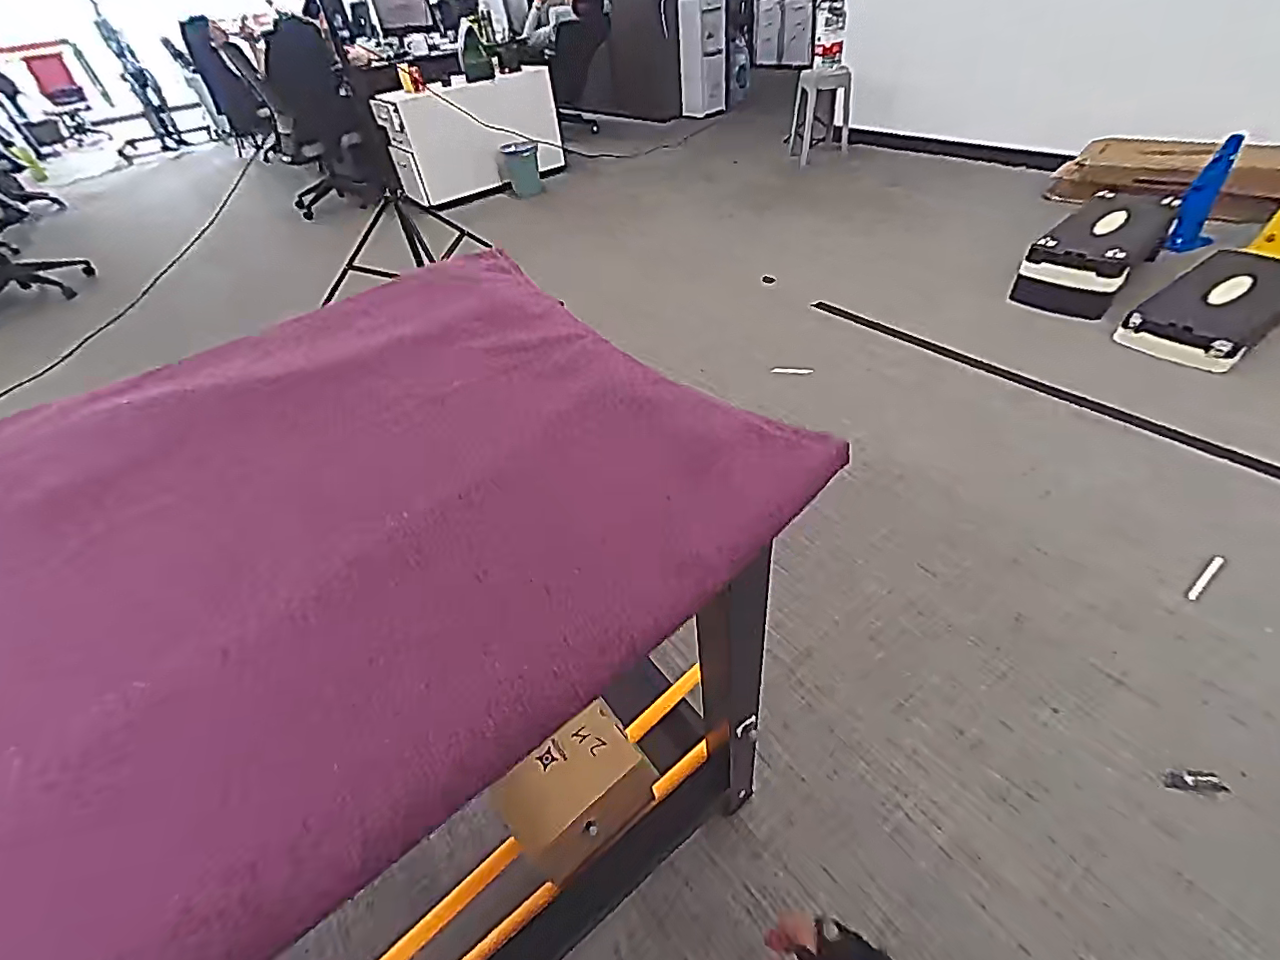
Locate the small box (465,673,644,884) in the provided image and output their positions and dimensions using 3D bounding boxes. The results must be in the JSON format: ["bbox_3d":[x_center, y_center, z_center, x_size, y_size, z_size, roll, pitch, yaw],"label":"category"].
[{"bbox_3d":[-0.110,0.418,0.758,0.179,0.176,0.168,-32,49,-23],"label":"small box"}]
